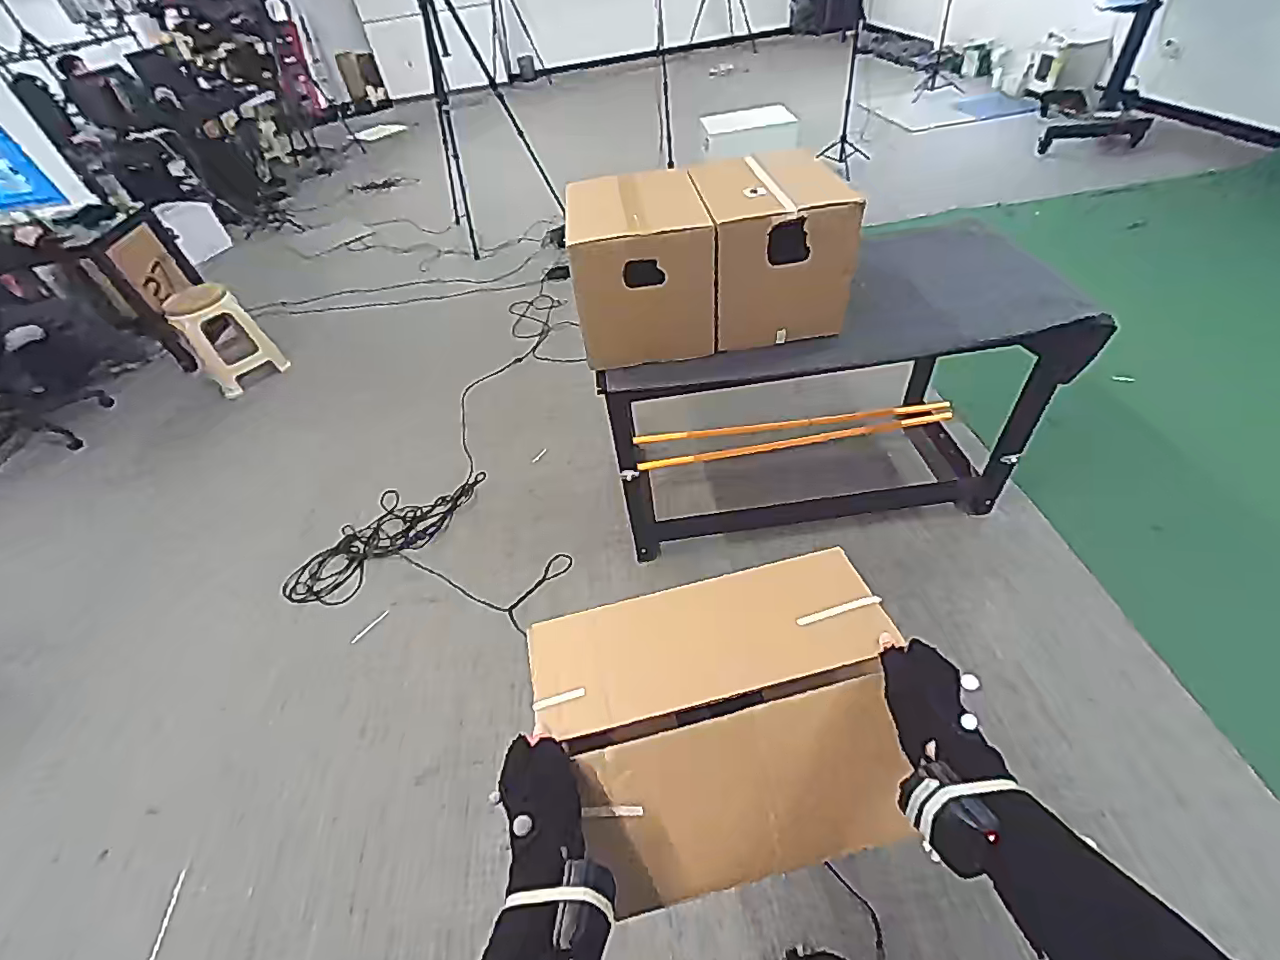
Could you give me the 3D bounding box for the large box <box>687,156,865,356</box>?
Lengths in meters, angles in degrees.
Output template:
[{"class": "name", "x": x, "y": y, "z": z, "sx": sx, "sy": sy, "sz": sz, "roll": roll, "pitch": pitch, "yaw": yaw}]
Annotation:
[{"class": "large box", "x": 0.310, "y": -0.569, "z": 1.362, "sx": 0.320, "sy": 0.320, "sz": 0.408, "roll": -10, "pitch": 46, "yaw": 1}]
